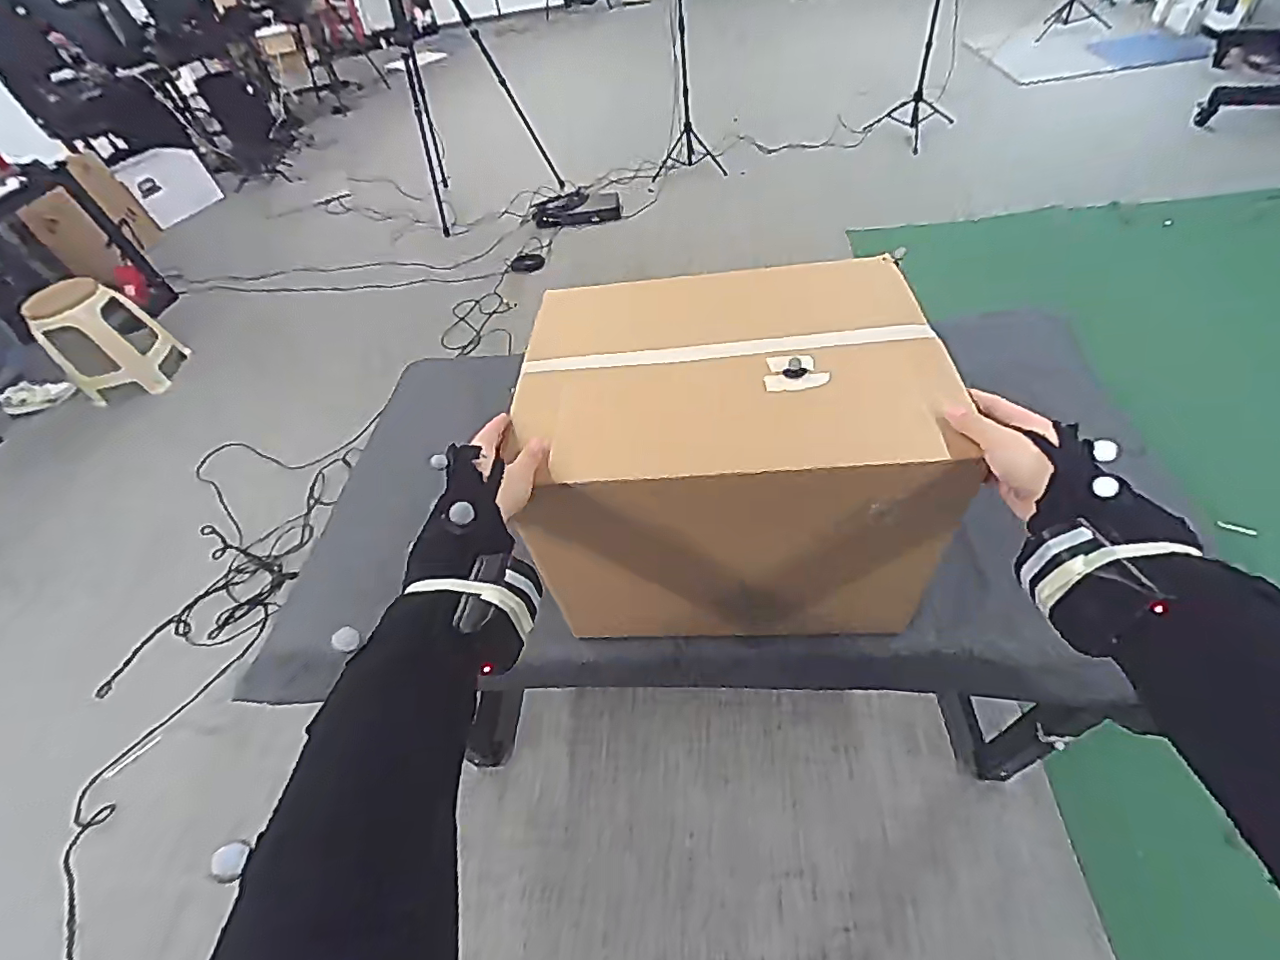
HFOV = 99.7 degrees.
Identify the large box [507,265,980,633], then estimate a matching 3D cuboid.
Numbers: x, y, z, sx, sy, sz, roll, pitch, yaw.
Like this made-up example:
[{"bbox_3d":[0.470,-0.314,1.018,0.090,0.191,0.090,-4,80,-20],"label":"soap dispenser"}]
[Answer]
[{"bbox_3d":[0.098,-0.026,0.659,0.408,0.320,0.320,-3,49,7],"label":"large box"}]
